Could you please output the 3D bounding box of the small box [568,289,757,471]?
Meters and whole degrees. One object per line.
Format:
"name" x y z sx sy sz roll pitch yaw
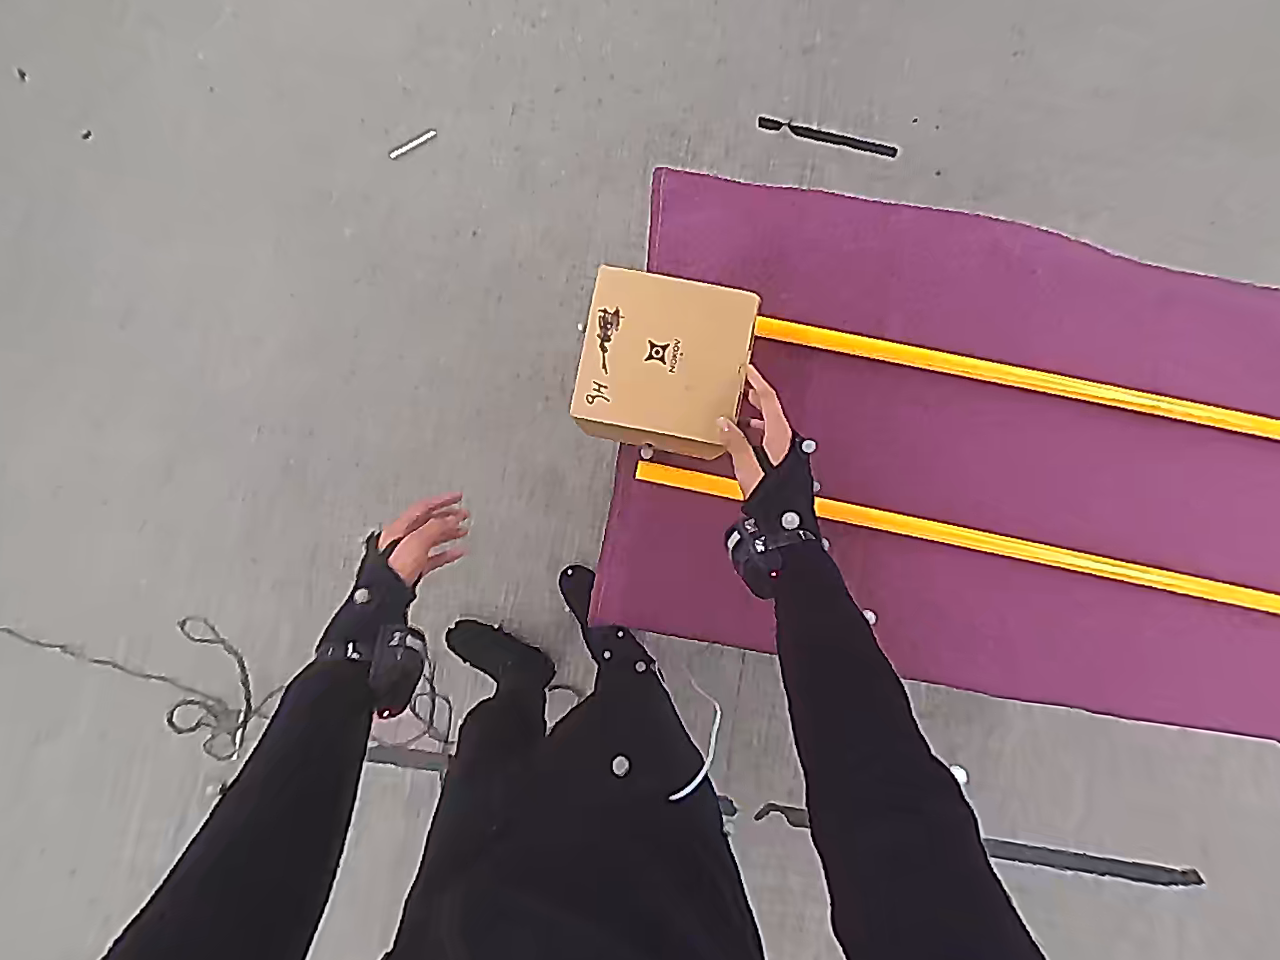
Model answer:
"small box" 0.024 -0.106 0.653 0.179 0.176 0.168 11 88 0
